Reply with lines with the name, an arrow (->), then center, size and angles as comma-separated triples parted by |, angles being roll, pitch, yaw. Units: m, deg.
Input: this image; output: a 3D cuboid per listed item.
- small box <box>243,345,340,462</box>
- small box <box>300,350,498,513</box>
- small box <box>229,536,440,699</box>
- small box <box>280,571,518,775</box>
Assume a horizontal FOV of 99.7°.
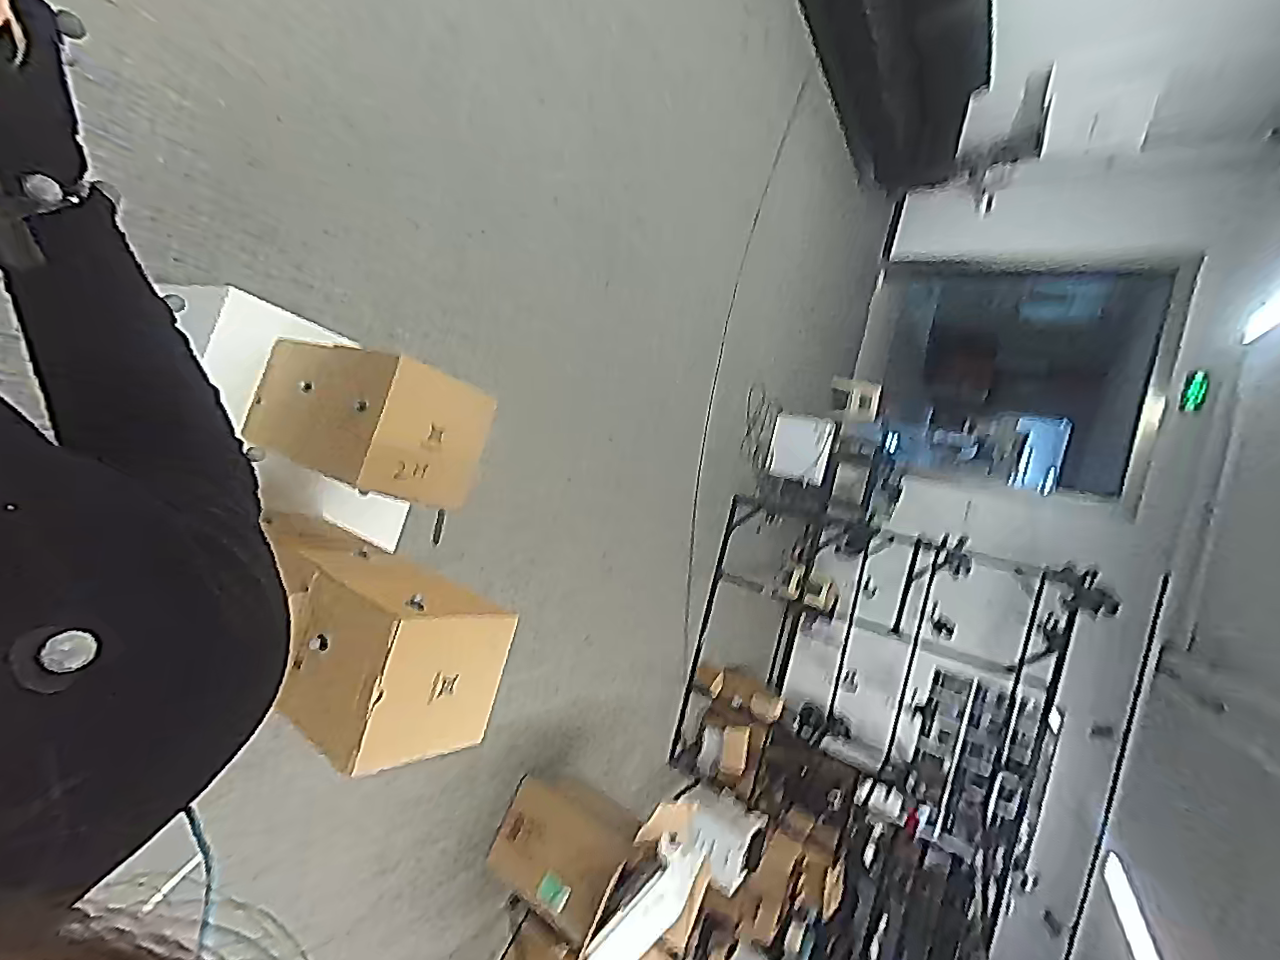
small box -> -0.471, -0.103, 0.852 | 0.179, 0.176, 0.168 | 26, 80, -58
small box -> -0.338, -0.070, 0.760 | 0.168, 0.176, 0.179 | 25, 82, -56
small box -> -0.417, 0.180, 0.741 | 0.179, 0.176, 0.168 | 21, 84, -58
small box -> -0.285, 0.214, 0.652 | 0.179, 0.176, 0.168 | 21, 85, -57
